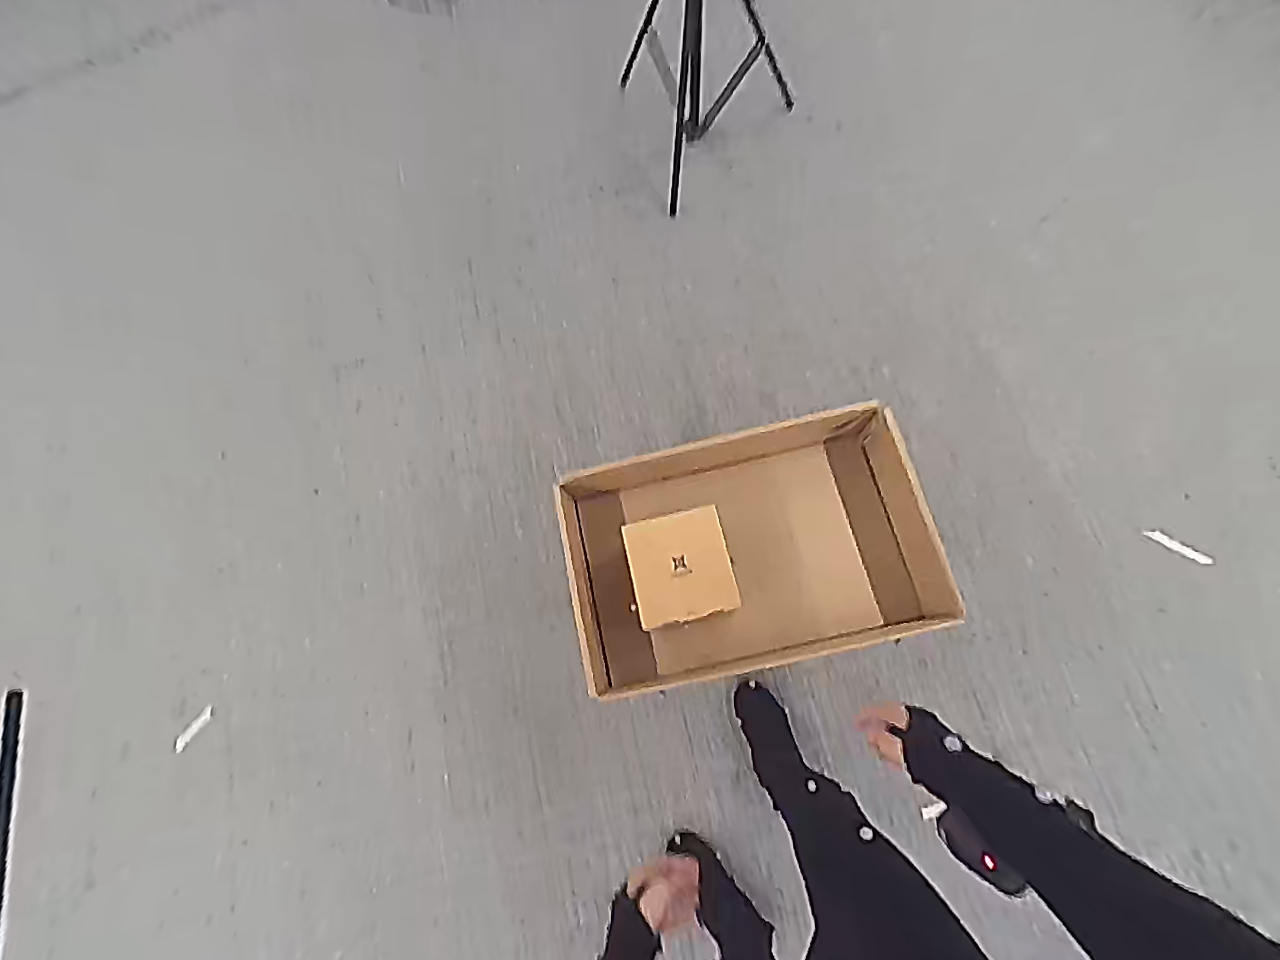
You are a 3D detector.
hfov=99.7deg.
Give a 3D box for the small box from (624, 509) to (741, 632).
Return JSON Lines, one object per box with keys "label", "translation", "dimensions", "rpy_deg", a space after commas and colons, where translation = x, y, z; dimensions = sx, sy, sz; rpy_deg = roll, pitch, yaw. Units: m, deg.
{"label": "small box", "translation": [0.073, 0.170, 0.970], "dimensions": [0.168, 0.176, 0.179], "rpy_deg": [-14, 74, 1]}
